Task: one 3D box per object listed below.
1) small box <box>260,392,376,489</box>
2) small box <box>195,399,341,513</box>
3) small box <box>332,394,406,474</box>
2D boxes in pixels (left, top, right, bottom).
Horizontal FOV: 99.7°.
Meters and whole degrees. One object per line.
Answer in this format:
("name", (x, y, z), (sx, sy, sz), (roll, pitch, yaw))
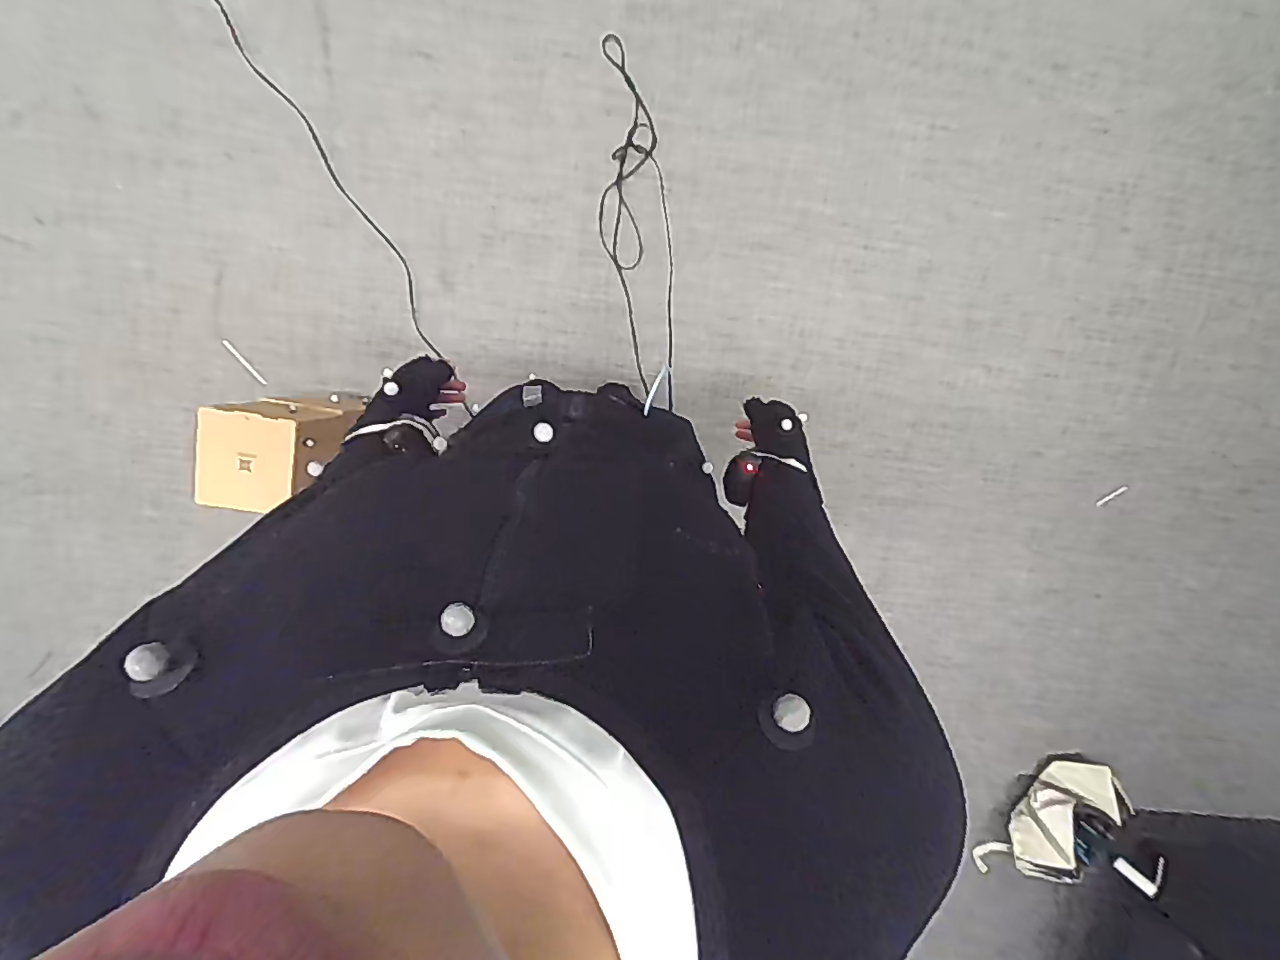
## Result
("small box", (-0.697, -0.091, 1.178), (0.168, 0.176, 0.179), (10, 99, -5))
("small box", (-0.690, -0.052, 1.020), (0.168, 0.176, 0.179), (9, 100, -4))
("small box", (-0.699, -0.120, 1.340), (0.179, 0.176, 0.168), (9, 100, -5))
